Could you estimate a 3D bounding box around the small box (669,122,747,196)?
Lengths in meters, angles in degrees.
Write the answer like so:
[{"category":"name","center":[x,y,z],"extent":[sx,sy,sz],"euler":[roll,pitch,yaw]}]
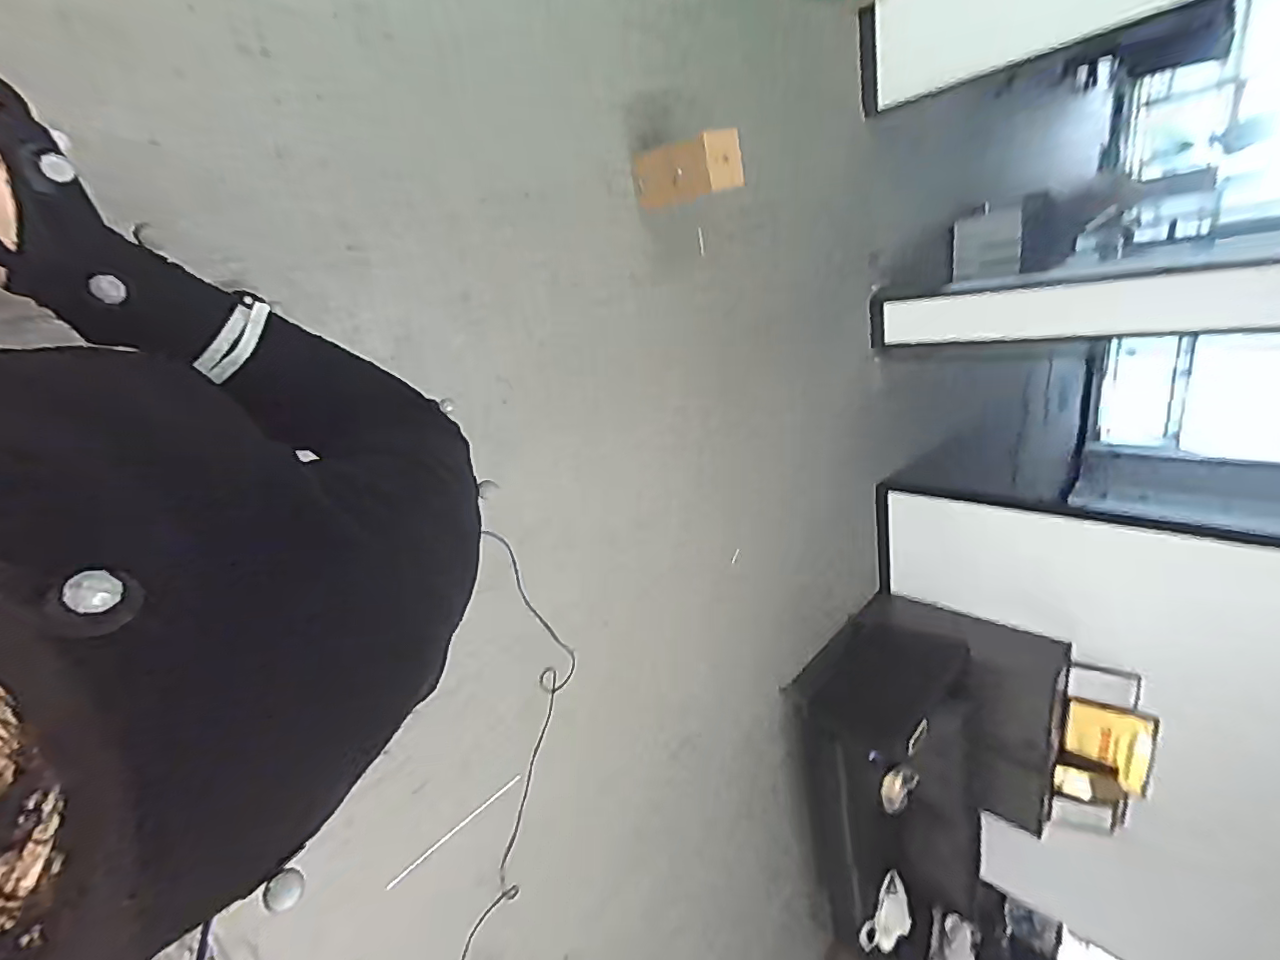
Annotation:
[{"category":"small box","center":[0.220,-1.038,1.754],"extent":[0.179,0.176,0.168],"euler":[-31,118,-33]}]
